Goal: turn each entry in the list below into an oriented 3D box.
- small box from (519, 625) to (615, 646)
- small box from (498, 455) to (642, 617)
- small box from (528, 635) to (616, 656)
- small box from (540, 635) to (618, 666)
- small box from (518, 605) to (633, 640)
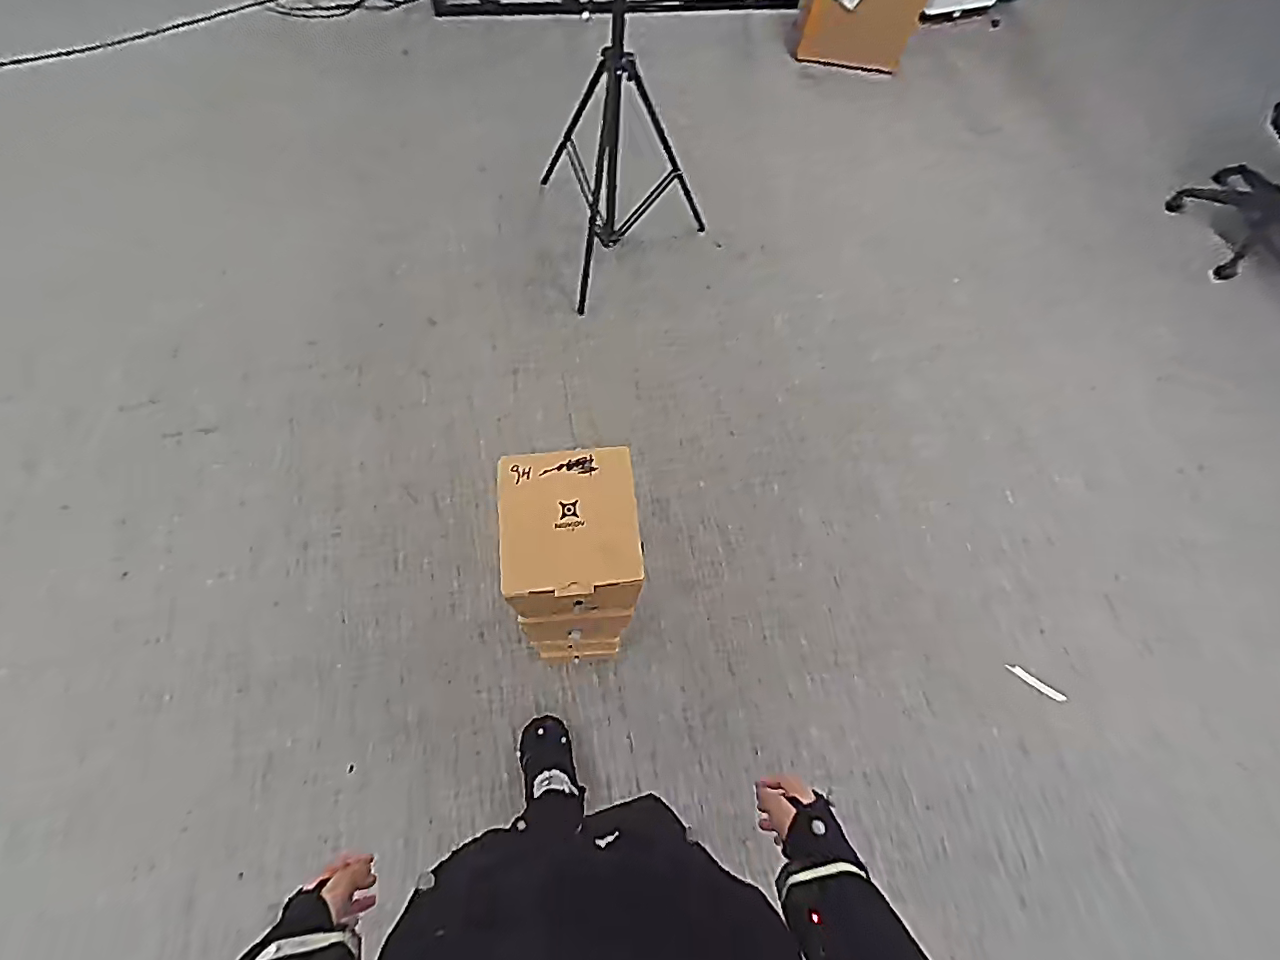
[{"bbox_3d":[-0.129,0.216,1.020,0.179,0.176,0.168,-2,68,-6],"label":"small box"},{"bbox_3d":[-0.091,0.084,0.721,0.168,0.176,0.179,-5,69,-7],"label":"small box"},{"bbox_3d":[-0.139,0.286,1.166,0.179,0.176,0.168,0,68,-5],"label":"small box"},{"bbox_3d":[-0.150,0.358,1.313,0.179,0.176,0.168,-3,68,-6],"label":"small box"},{"bbox_3d":[-0.103,0.155,0.869,0.168,0.176,0.179,-3,69,-5],"label":"small box"}]
